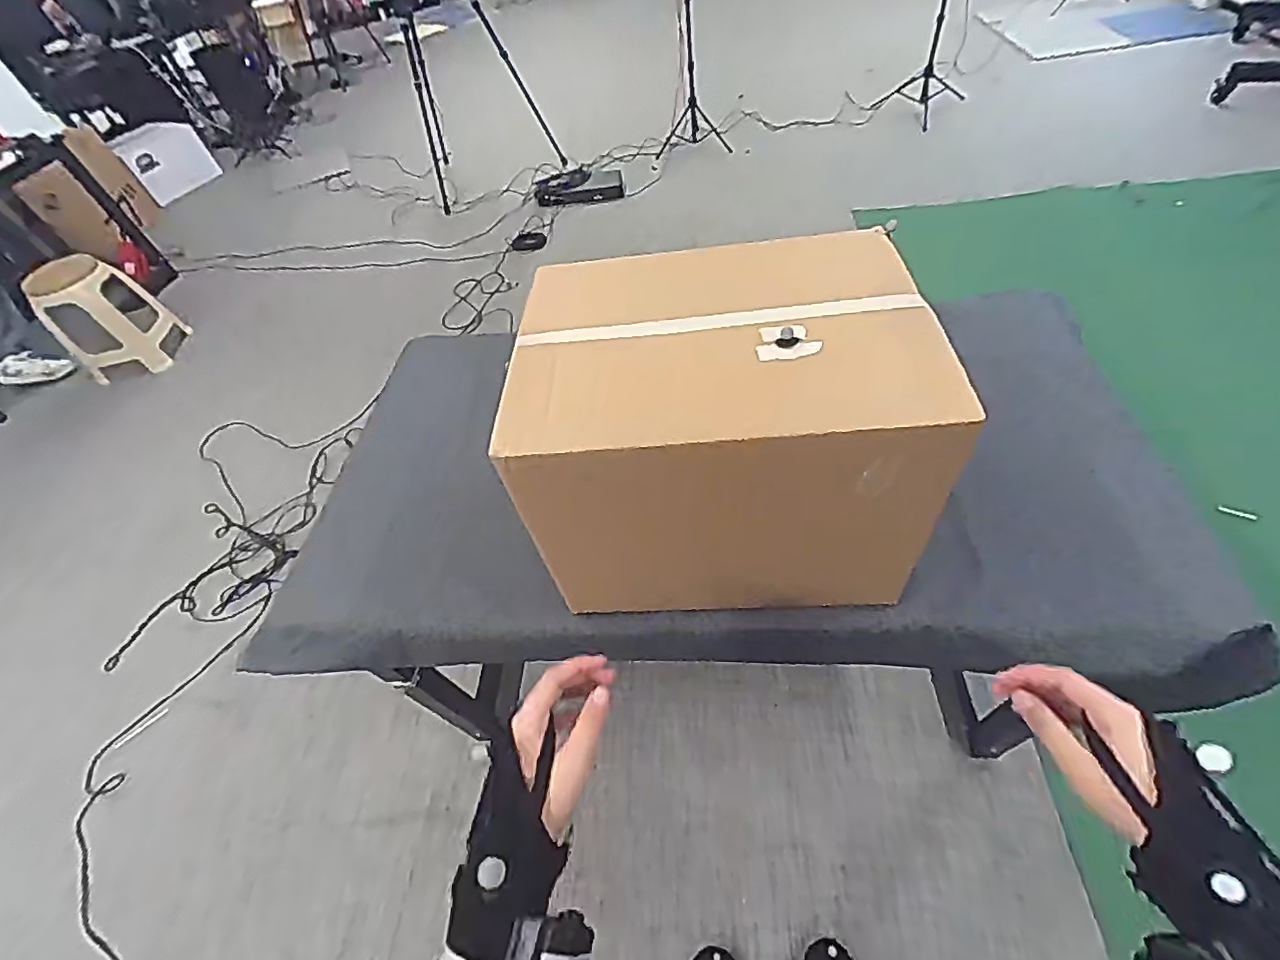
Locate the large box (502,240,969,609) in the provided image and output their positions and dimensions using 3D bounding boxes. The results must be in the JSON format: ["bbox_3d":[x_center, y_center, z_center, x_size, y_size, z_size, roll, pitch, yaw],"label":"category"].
[{"bbox_3d":[0.091,-0.055,0.663,0.408,0.320,0.320,-3,50,6],"label":"large box"}]
